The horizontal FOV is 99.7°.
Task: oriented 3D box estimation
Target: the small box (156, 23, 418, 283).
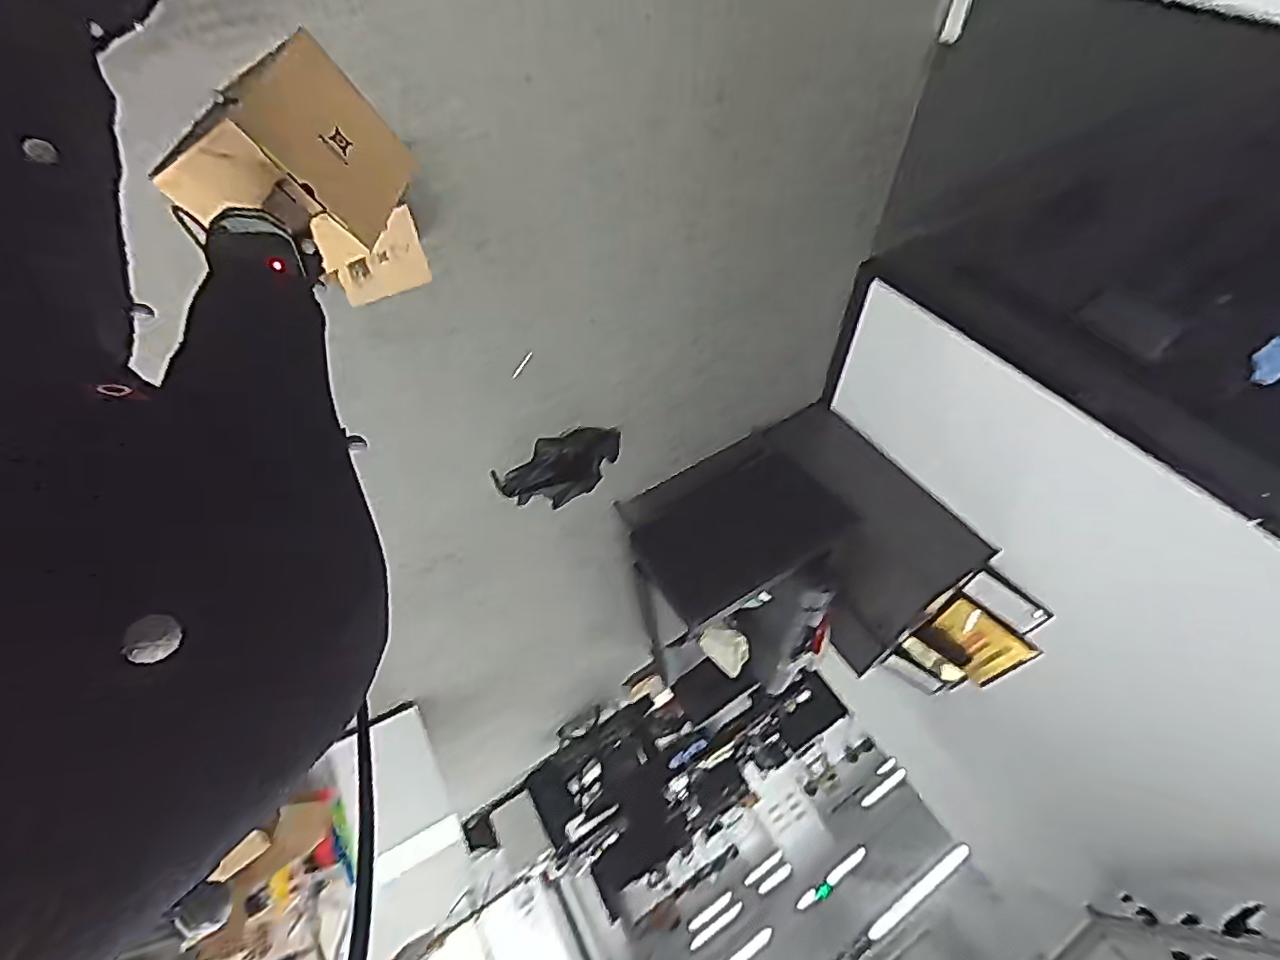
[{"bbox_3d":[-0.403,-0.365,0.630,0.176,0.179,0.168,-6,150,28],"label":"small box"}]
